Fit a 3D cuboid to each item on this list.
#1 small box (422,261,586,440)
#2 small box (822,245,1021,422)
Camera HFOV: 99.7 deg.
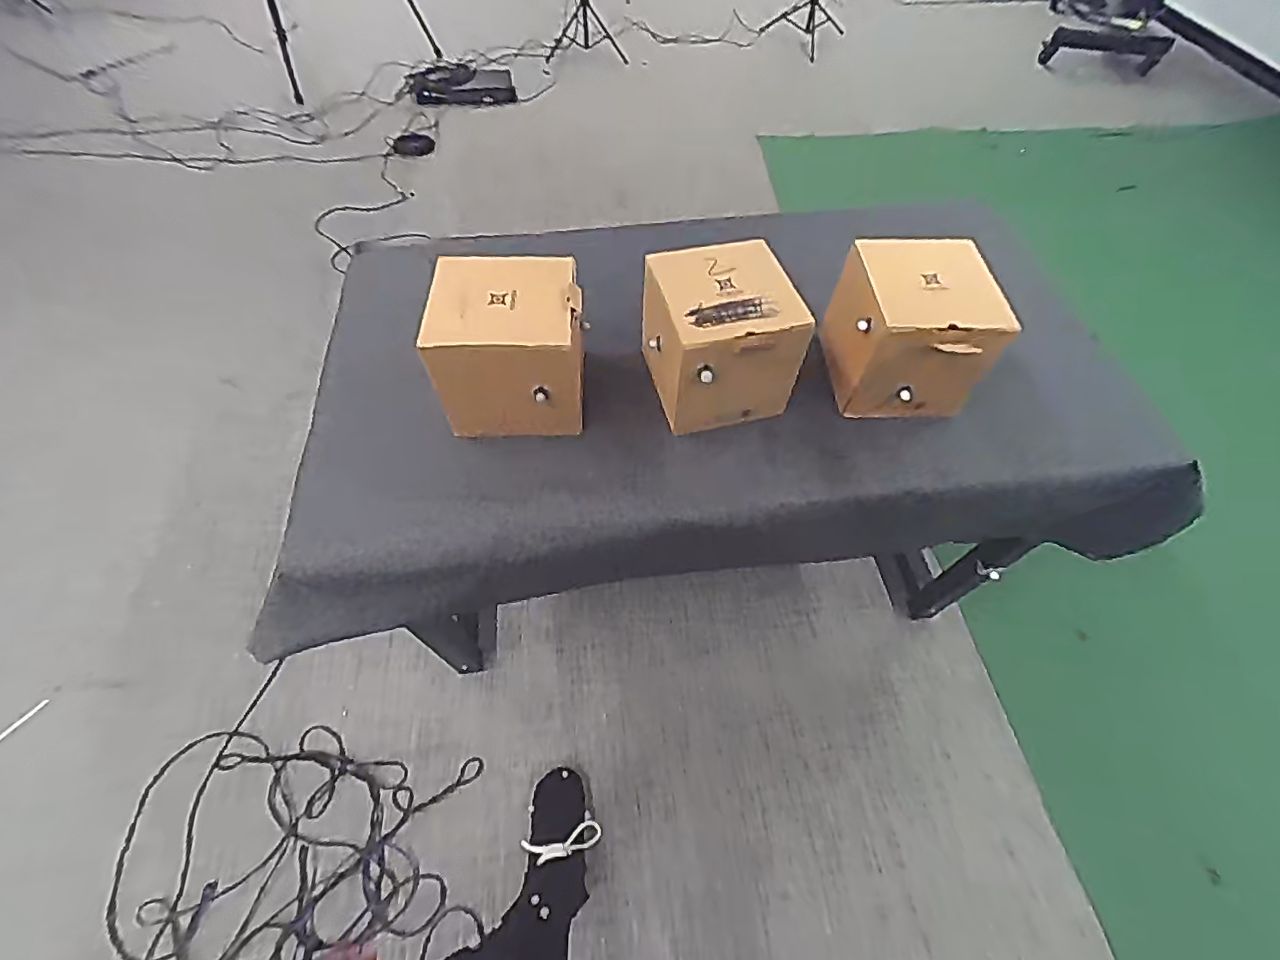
[{"bbox_3d":[-0.163,-0.166,0.717,0.179,0.176,0.168,-2,56,-2],"label":"small box"},{"bbox_3d":[0.372,-0.202,0.758,0.168,0.176,0.179,-1,58,-2],"label":"small box"}]
